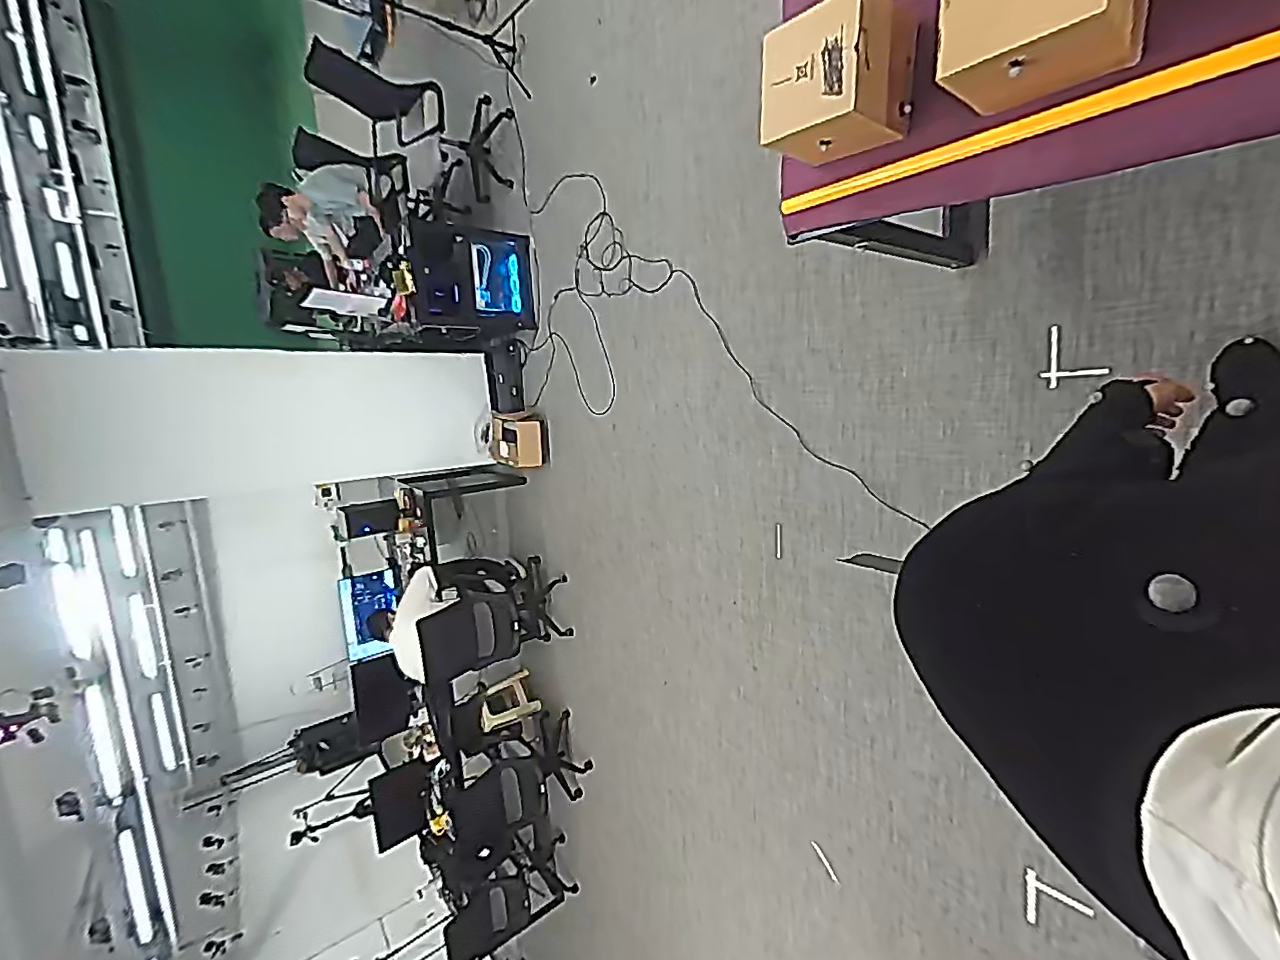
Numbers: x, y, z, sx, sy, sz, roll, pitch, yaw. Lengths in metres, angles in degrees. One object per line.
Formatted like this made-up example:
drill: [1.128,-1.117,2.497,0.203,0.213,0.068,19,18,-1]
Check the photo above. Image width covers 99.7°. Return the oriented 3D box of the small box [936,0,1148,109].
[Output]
small box: [0.495,-0.591,0.659,0.179,0.176,0.168,14,109,52]

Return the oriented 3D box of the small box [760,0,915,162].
small box: [0.319,-0.640,0.876,0.179,0.176,0.168,16,111,50]
